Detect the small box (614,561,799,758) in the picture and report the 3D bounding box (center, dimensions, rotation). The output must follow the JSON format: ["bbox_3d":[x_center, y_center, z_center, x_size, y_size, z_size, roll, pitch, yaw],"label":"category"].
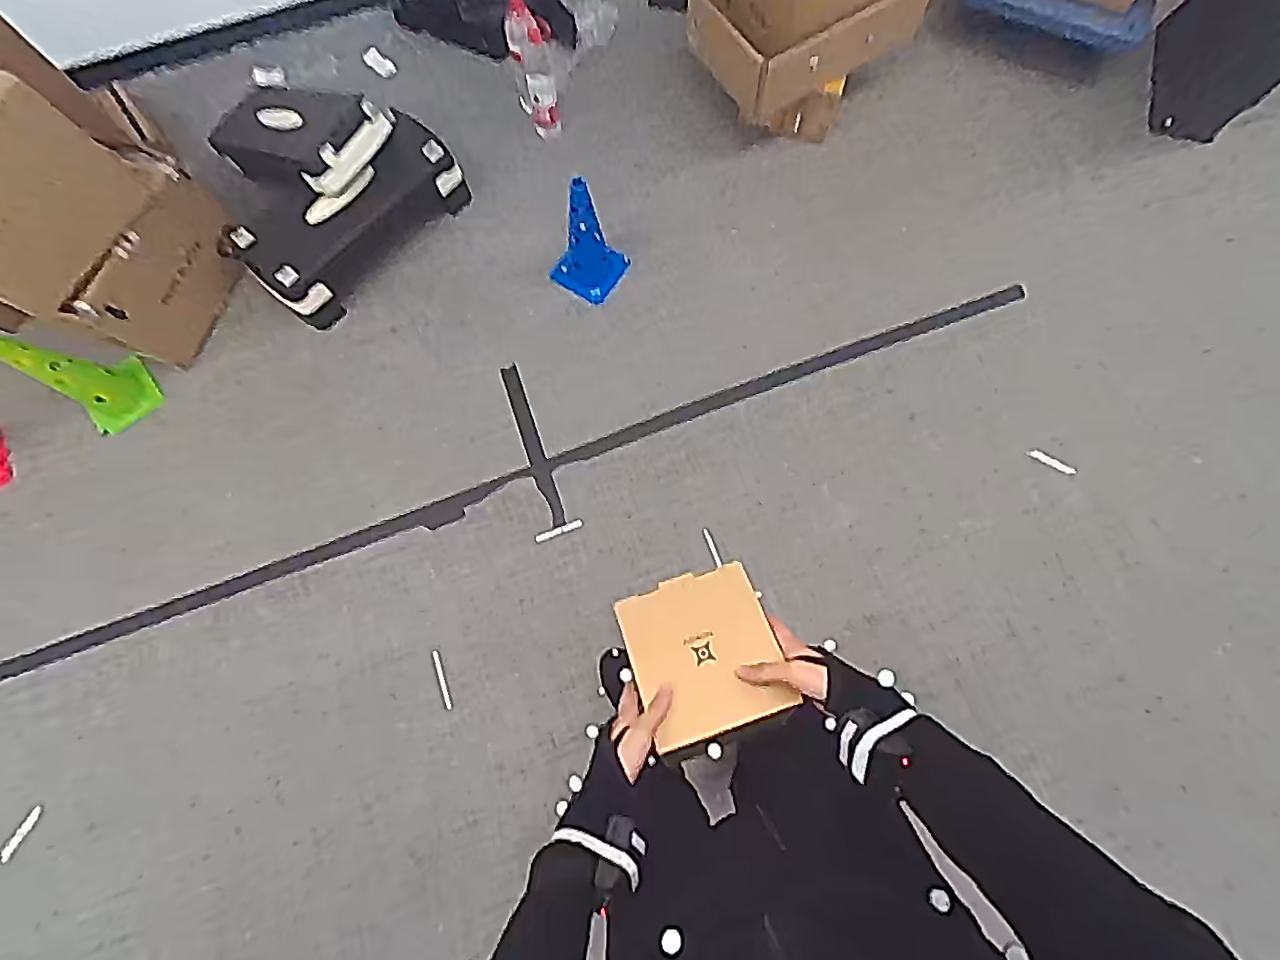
[{"bbox_3d":[0.079,0.231,0.676,0.168,0.176,0.179,-17,57,-4],"label":"small box"}]
